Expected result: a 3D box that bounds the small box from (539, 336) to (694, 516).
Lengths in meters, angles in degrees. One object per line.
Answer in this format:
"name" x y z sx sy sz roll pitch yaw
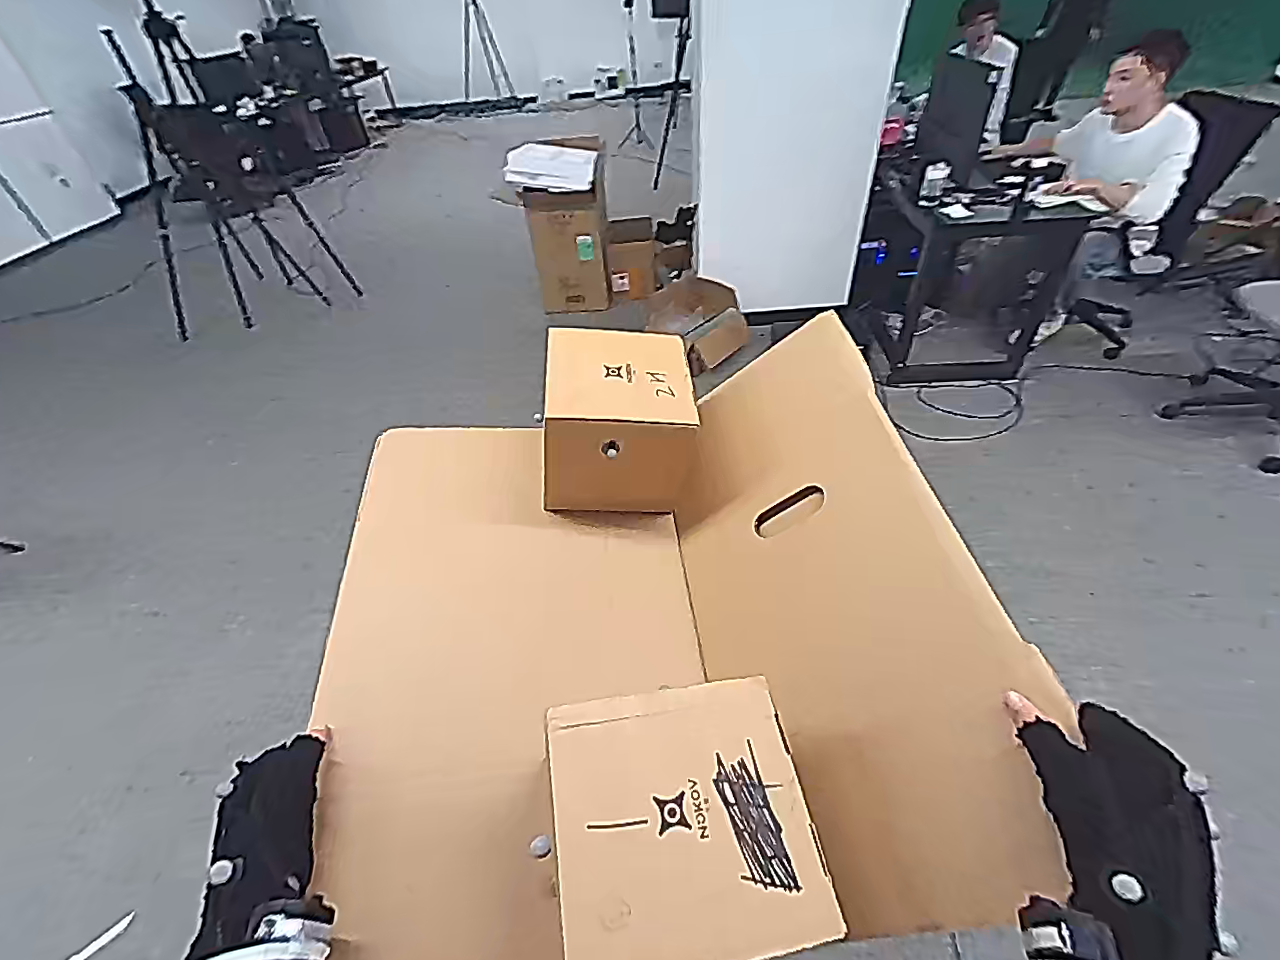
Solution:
"small box" -0.039 -0.066 0.707 0.179 0.176 0.168 3 50 -9
